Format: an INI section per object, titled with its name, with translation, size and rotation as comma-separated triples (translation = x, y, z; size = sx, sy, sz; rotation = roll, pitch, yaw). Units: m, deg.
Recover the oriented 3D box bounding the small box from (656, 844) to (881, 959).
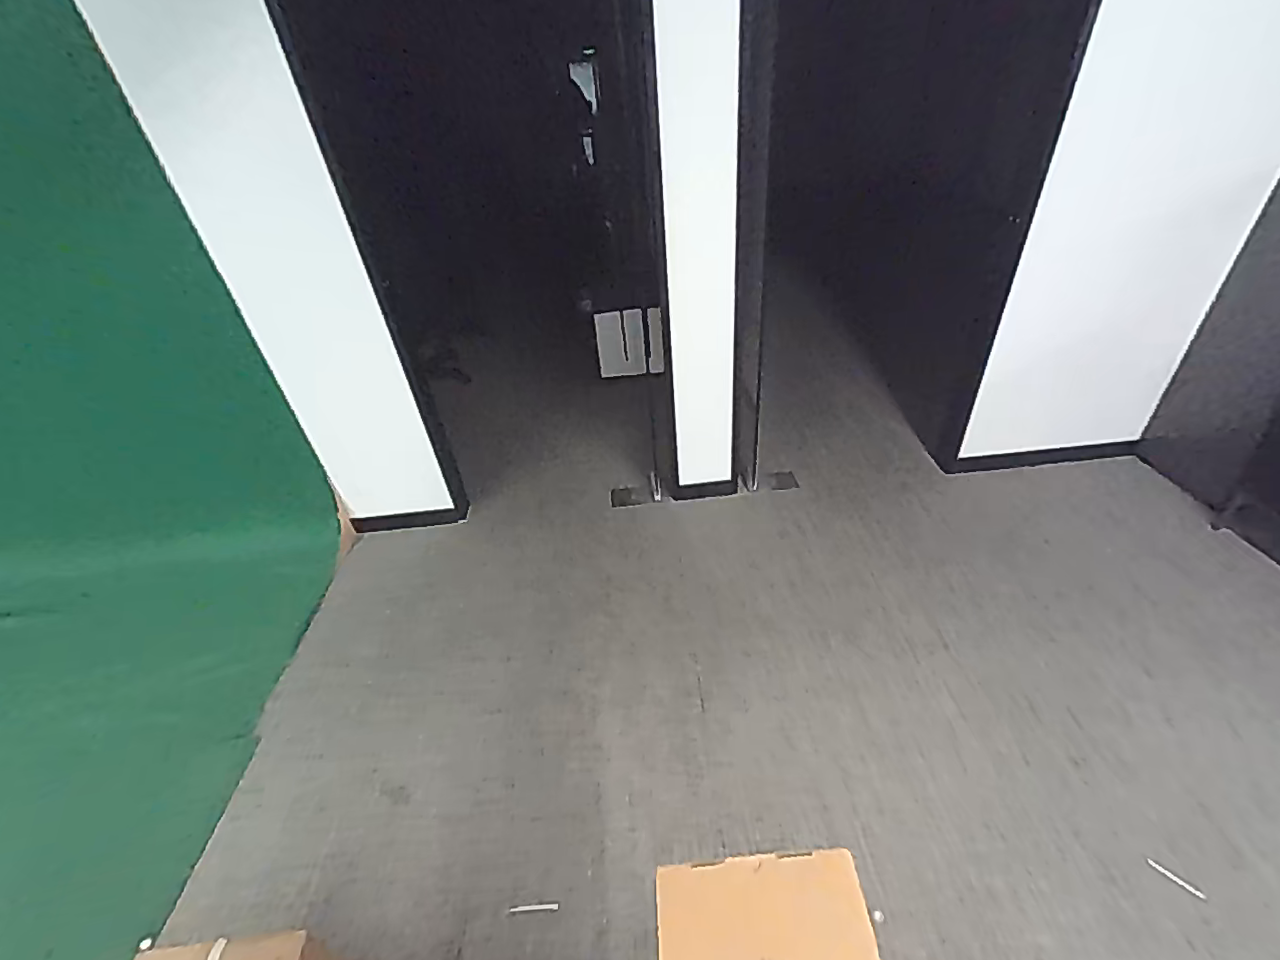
[small box]
translation = 0.112, 0.427, 0.435
size = 0.168, 0.176, 0.179
rotation = -10, 38, 6
